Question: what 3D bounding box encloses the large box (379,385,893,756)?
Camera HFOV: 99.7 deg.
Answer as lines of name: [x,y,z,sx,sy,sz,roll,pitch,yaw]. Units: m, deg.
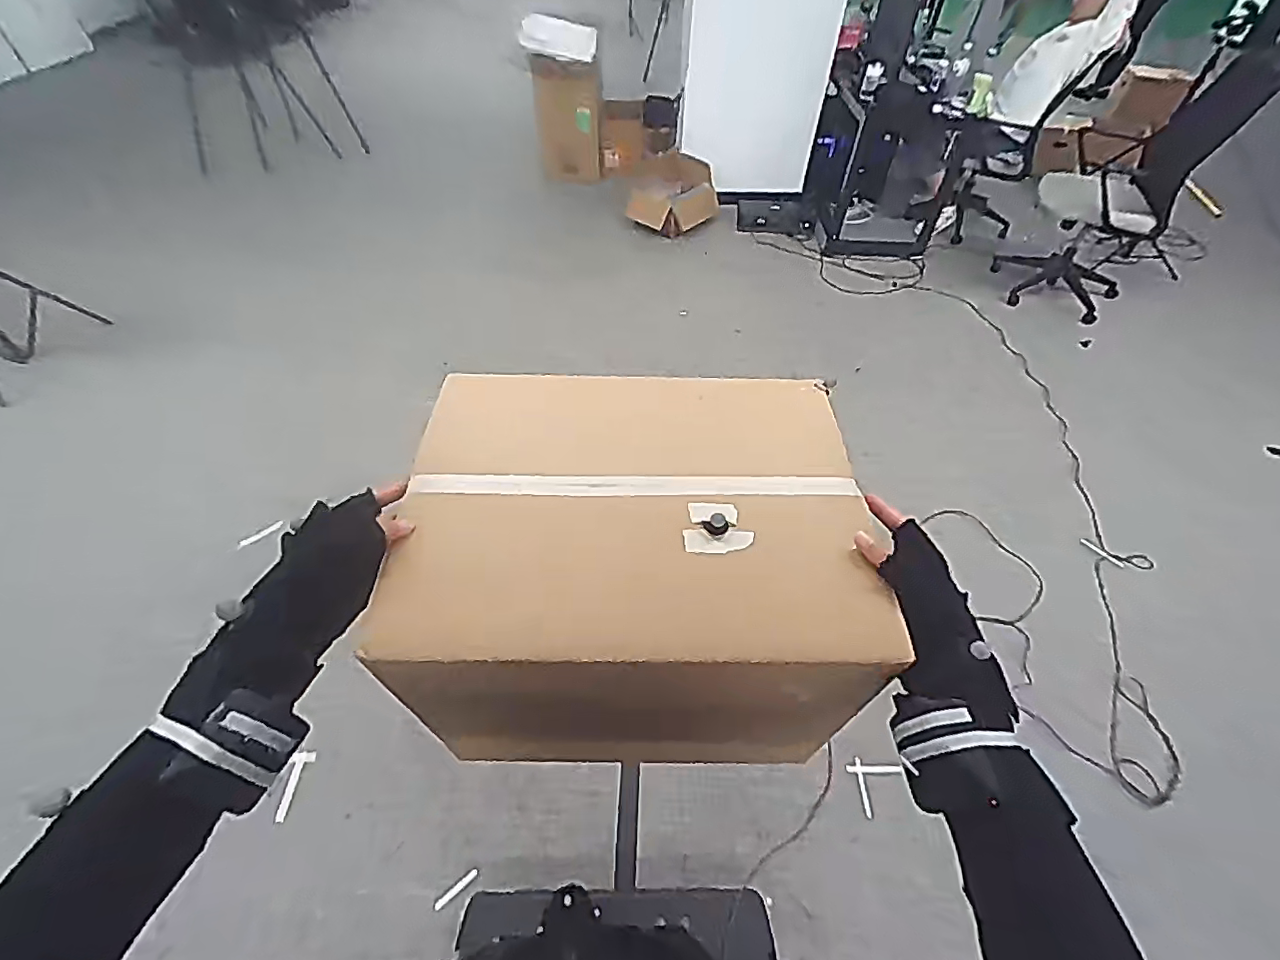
large box: [-0.008,0.110,0.618,0.408,0.320,0.320,2,51,-1]
